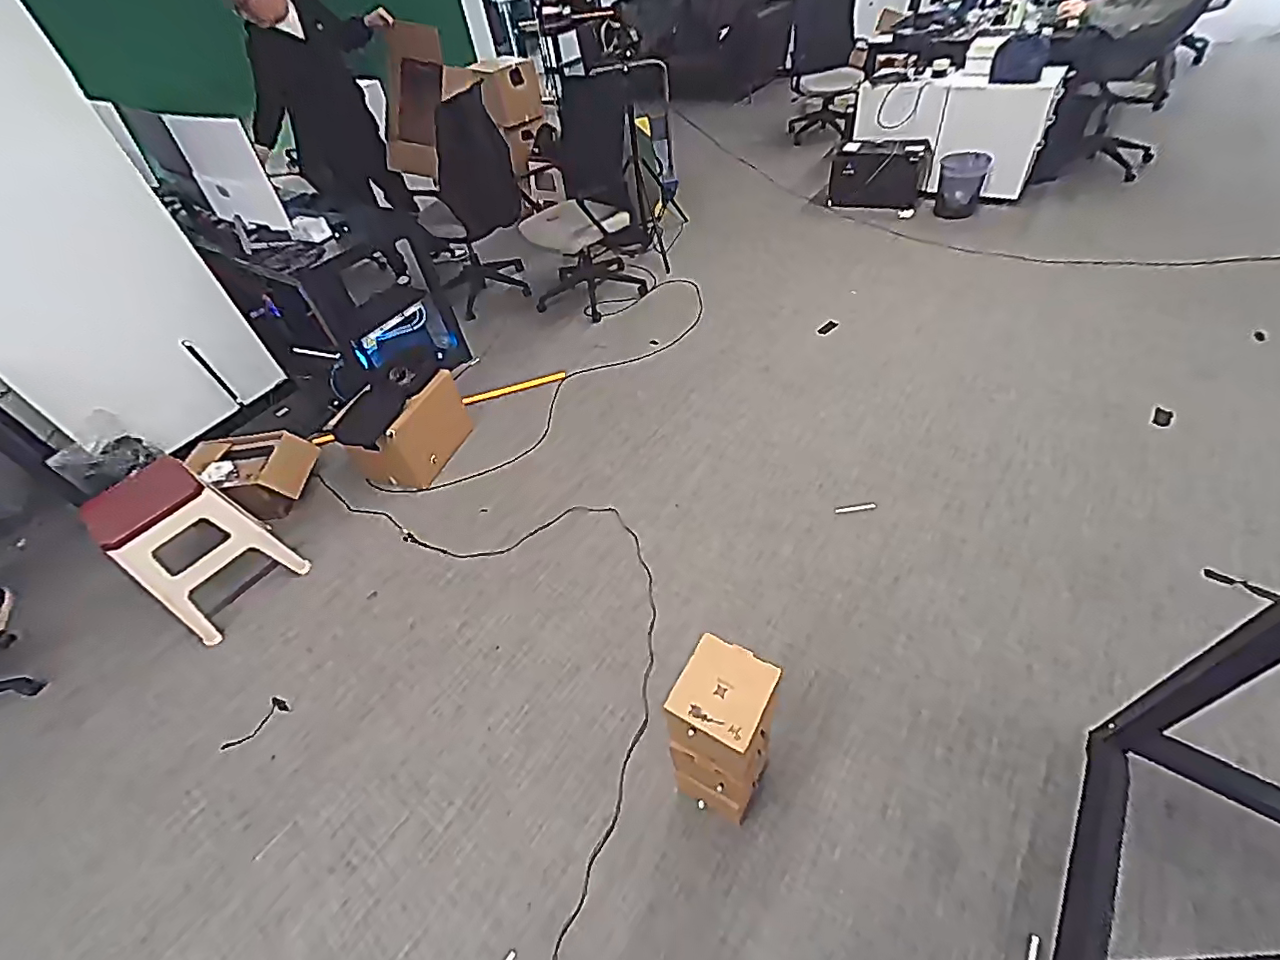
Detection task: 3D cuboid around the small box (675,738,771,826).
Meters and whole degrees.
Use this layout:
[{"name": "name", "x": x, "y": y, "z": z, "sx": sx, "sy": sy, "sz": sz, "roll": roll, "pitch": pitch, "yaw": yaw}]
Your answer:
[{"name": "small box", "x": 0.200, "y": 0.687, "z": 1.298, "sx": 0.168, "sy": 0.176, "sz": 0.179, "roll": 20, "pitch": 54, "yaw": 27}]

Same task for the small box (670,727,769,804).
[{"name": "small box", "x": 0.181, "y": 0.571, "z": 1.186, "sx": 0.168, "sy": 0.176, "sz": 0.179, "roll": 18, "pitch": 51, "yaw": 24}]

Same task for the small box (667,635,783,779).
[{"name": "small box", "x": 0.168, "y": 0.451, "z": 1.074, "sx": 0.168, "sy": 0.176, "sz": 0.179, "roll": 20, "pitch": 53, "yaw": 26}]
